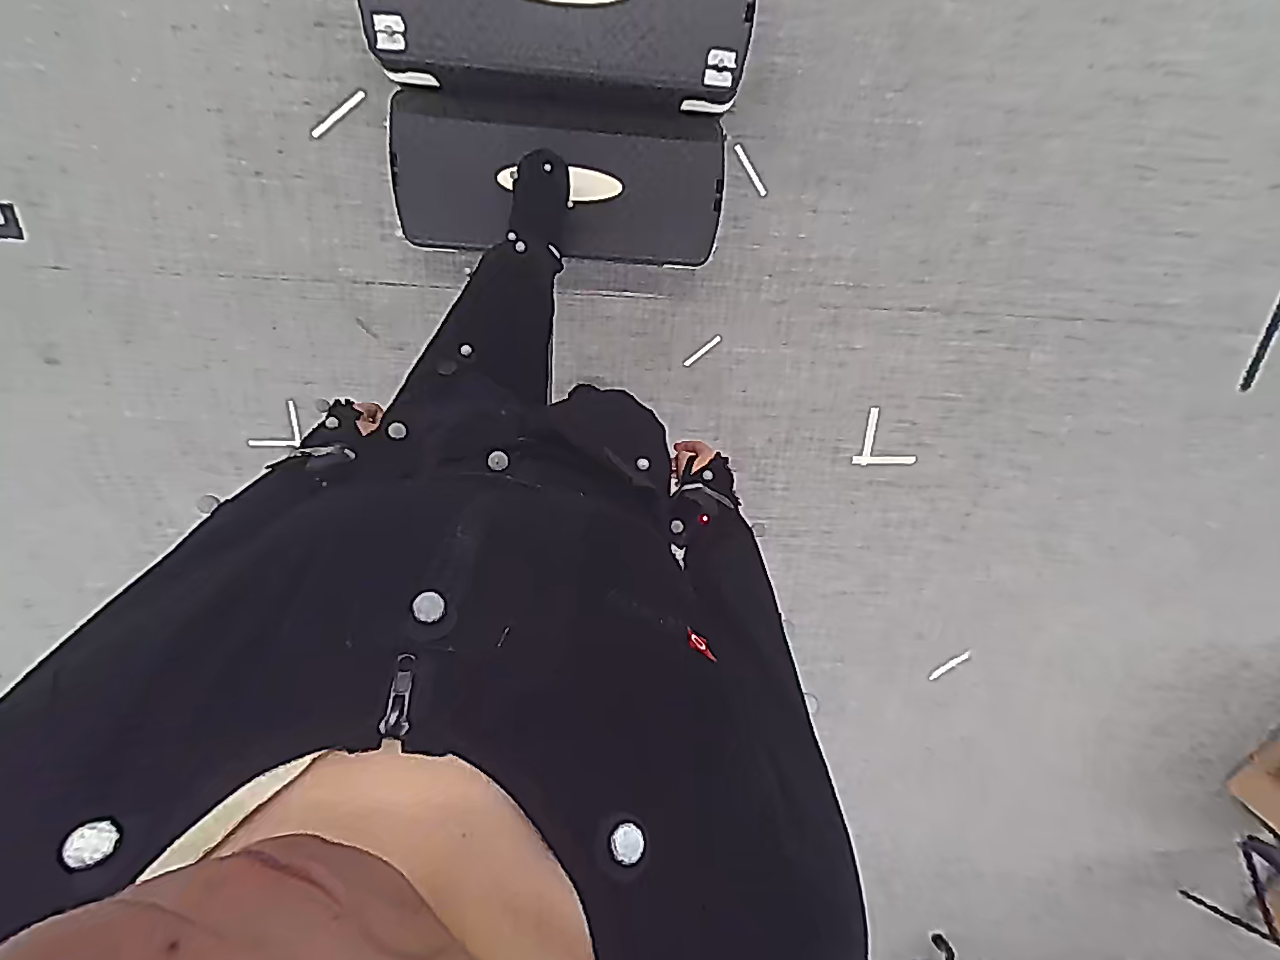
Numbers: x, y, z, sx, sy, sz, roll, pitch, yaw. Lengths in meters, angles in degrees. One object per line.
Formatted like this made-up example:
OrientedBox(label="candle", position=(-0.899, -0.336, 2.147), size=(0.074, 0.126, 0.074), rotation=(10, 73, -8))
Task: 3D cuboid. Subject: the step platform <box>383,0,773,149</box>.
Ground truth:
OrientedBox(label="step platform", position=(-0.105, -0.837, 0.996), size=(0.684, 0.204, 0.286), rotation=(6, 111, -7))
